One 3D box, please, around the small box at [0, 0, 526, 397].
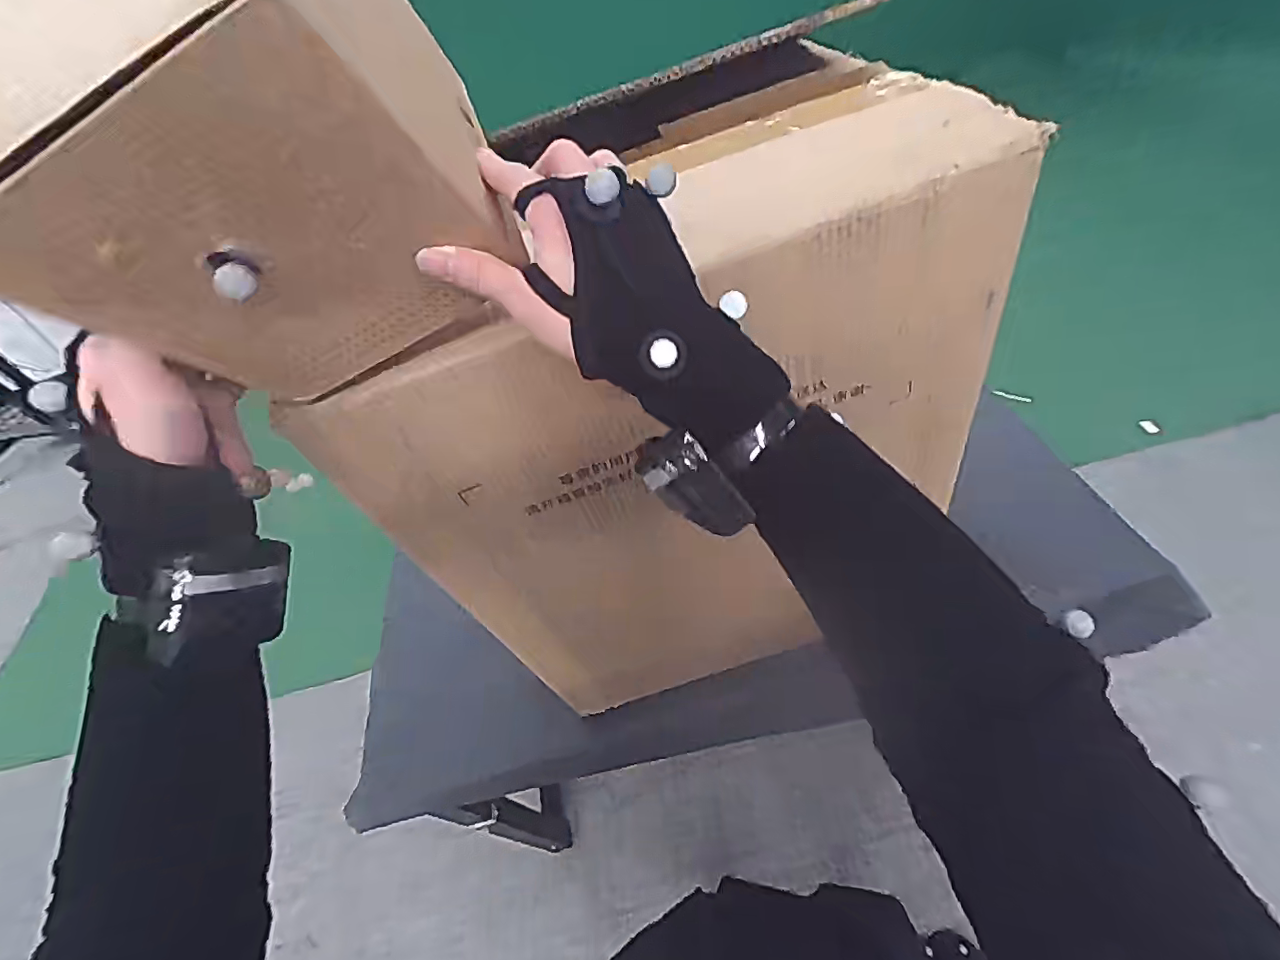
[{"bbox_3d":[-0.190,-0.168,0.282,0.179,0.176,0.168,-25,71,11],"label":"small box"}]
